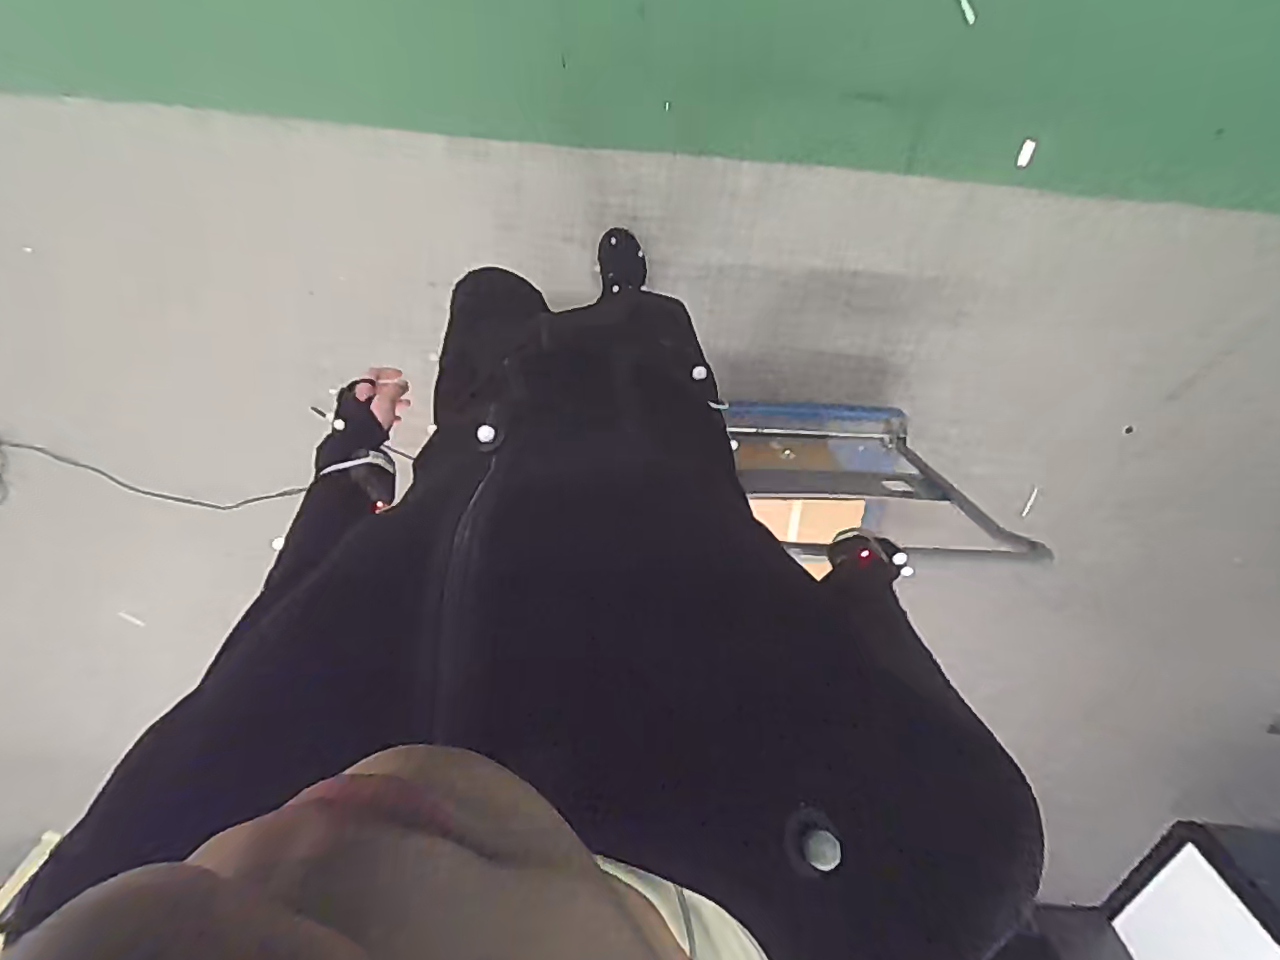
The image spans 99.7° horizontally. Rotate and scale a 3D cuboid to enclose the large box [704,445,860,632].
[{"bbox_3d":[0.347,0.146,1.444,0.320,0.320,0.408,1,119,0],"label":"large box"}]
